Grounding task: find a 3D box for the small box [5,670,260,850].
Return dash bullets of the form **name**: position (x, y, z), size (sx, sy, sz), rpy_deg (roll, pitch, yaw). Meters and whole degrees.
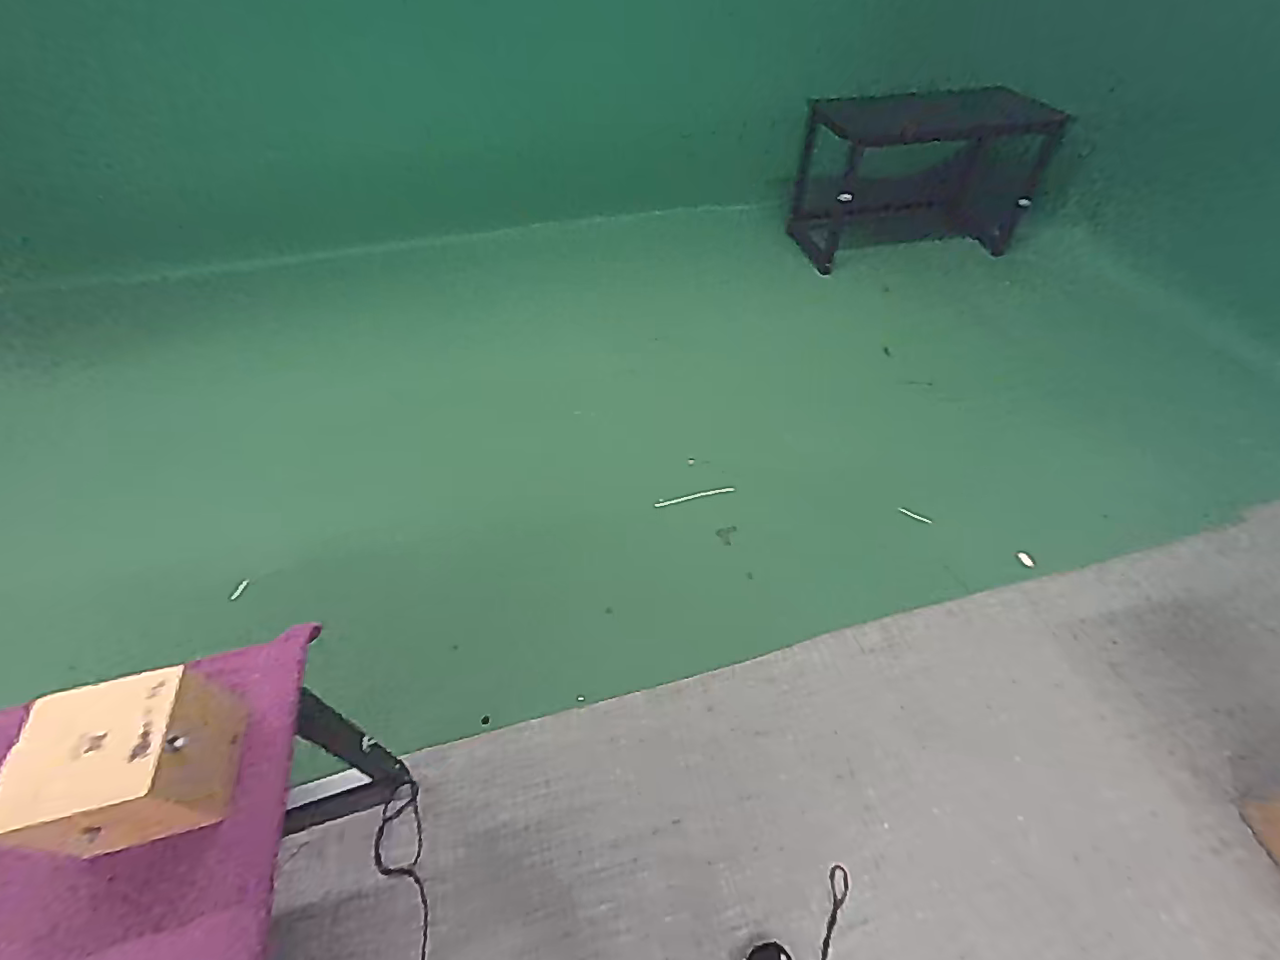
- **small box**: position (-0.684, 0.396, 0.759), size (0.179, 0.176, 0.168), rpy_deg (-12, 51, -8)
